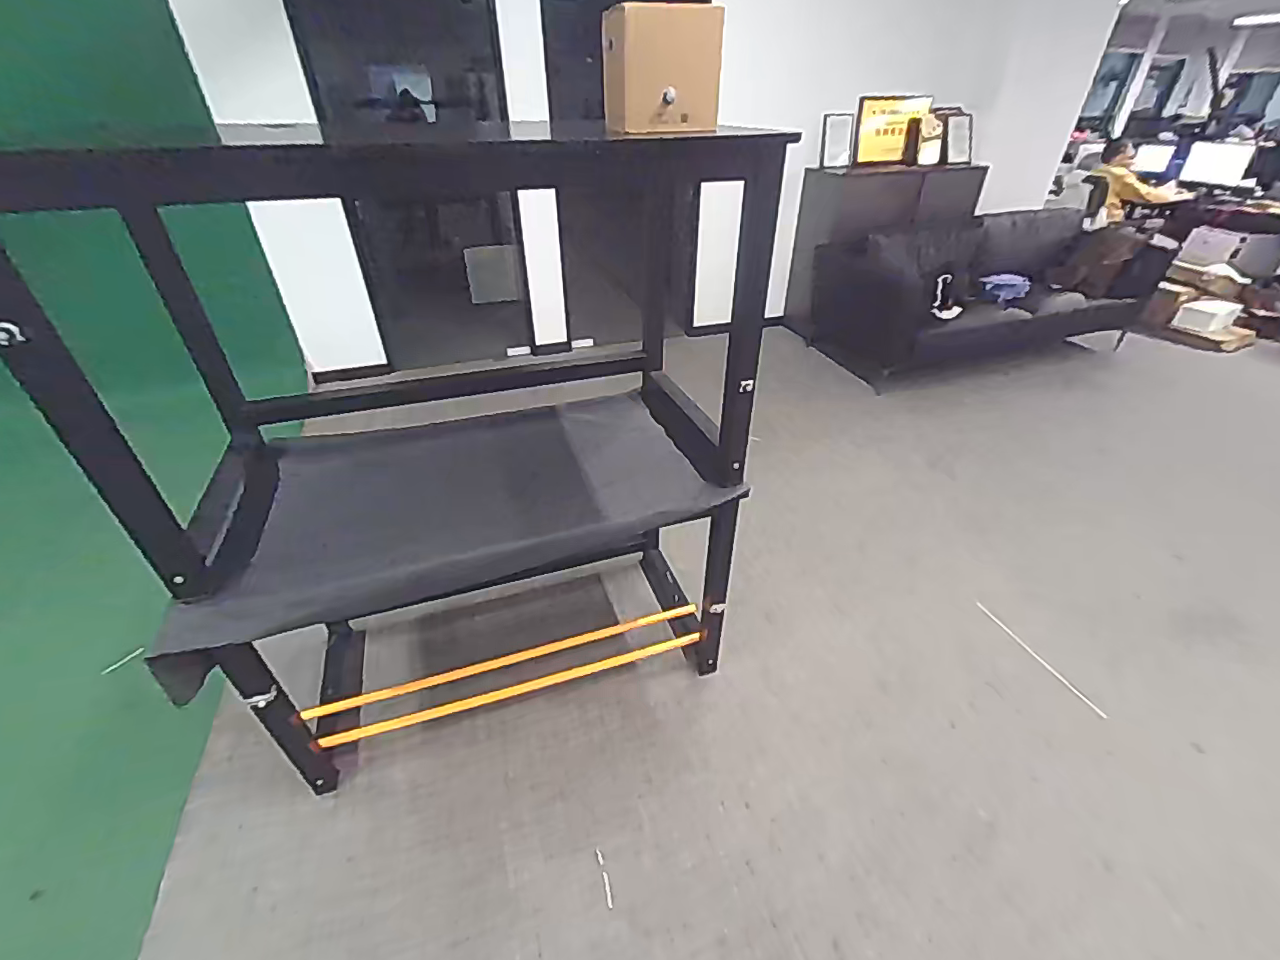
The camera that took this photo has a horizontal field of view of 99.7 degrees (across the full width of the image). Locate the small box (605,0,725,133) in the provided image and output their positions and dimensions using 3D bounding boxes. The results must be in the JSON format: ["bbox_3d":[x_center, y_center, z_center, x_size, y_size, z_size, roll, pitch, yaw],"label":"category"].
[{"bbox_3d":[0.034,-0.705,0.934,0.168,0.176,0.179,-9,37,-11],"label":"small box"}]
